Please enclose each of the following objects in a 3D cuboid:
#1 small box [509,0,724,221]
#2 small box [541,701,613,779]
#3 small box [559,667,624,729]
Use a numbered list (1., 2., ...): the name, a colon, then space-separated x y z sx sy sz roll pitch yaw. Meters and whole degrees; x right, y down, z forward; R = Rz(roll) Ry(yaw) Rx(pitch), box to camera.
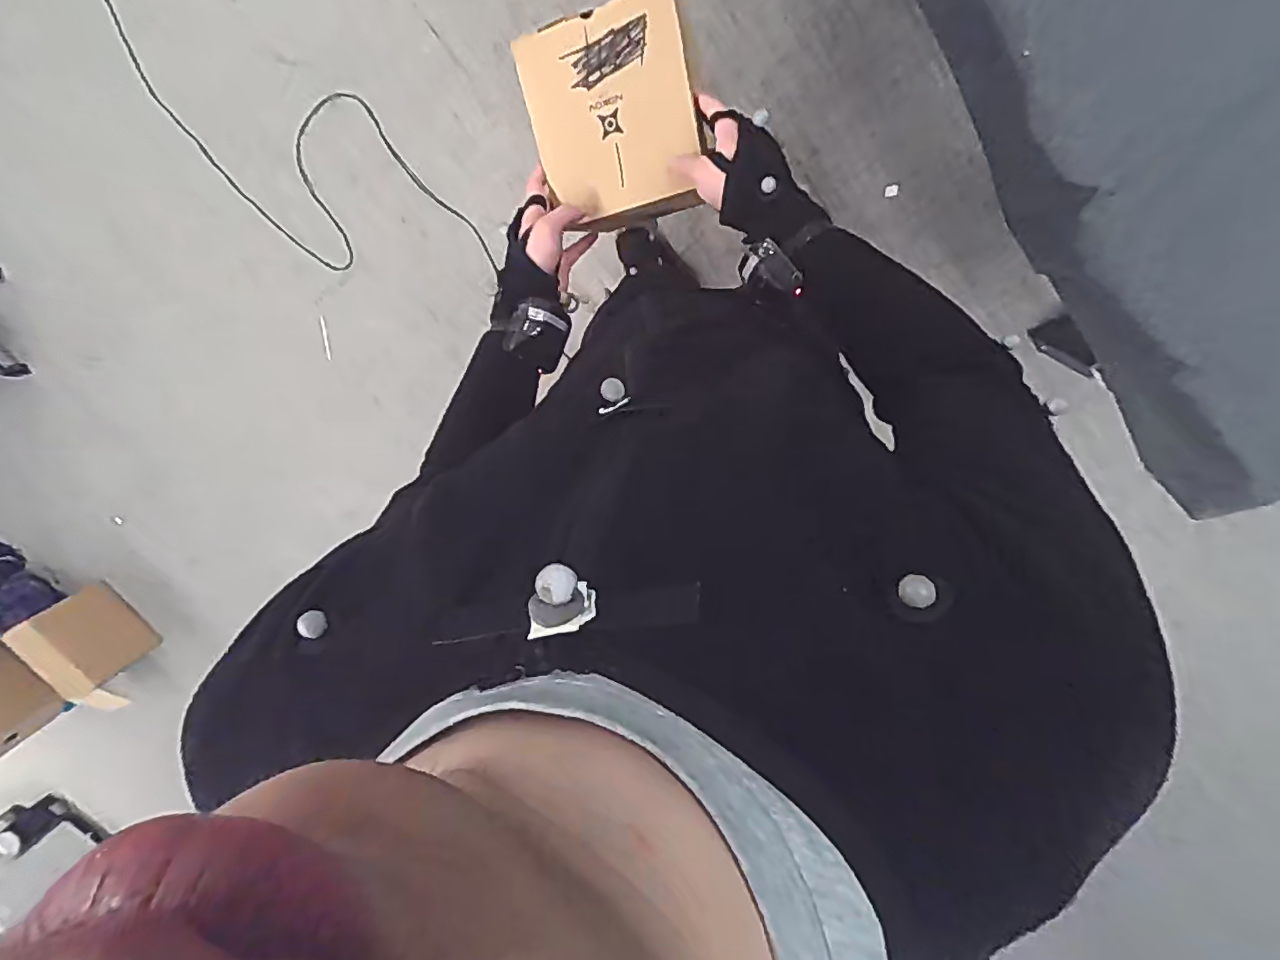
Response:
1. small box: -0.010 -0.393 0.581 0.168 0.176 0.179 -7 111 19
2. small box: -0.216 0.925 1.934 0.179 0.176 0.168 -33 103 28
3. small box: -0.177 0.853 2.075 0.179 0.176 0.168 -34 103 26
